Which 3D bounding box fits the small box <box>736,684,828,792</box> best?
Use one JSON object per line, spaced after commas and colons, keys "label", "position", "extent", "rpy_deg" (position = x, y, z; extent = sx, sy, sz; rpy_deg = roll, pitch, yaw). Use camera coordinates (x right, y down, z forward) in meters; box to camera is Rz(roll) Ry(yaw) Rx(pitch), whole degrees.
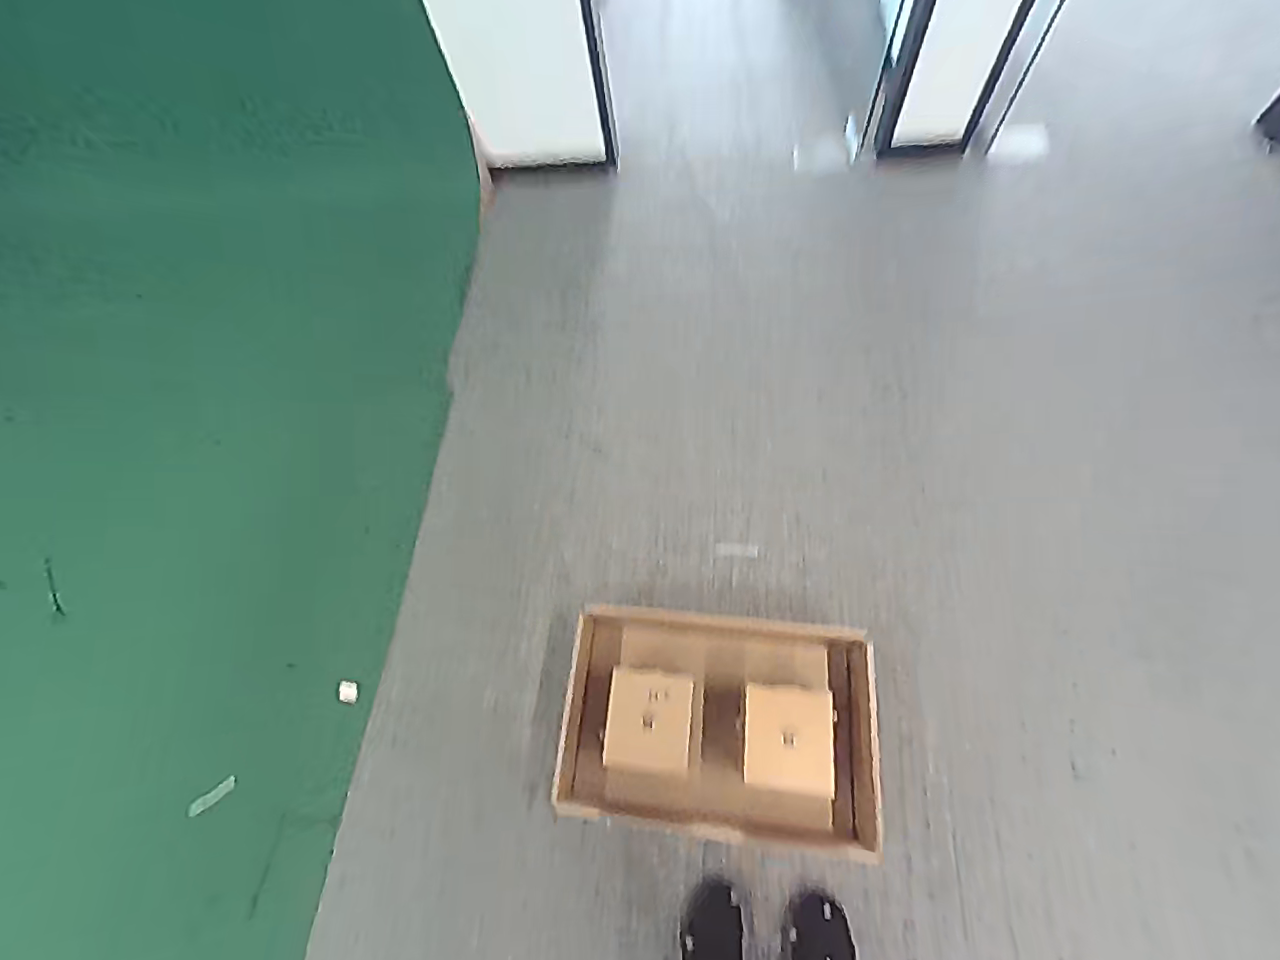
{"label": "small box", "position": [0.287, 0.526, 1.116], "extent": [0.168, 0.176, 0.179], "rpy_deg": [3, 66, 8]}

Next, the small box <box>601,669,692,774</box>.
{"label": "small box", "position": [0.021, 0.508, 1.148], "extent": [0.168, 0.176, 0.179], "rpy_deg": [4, 67, 7]}
